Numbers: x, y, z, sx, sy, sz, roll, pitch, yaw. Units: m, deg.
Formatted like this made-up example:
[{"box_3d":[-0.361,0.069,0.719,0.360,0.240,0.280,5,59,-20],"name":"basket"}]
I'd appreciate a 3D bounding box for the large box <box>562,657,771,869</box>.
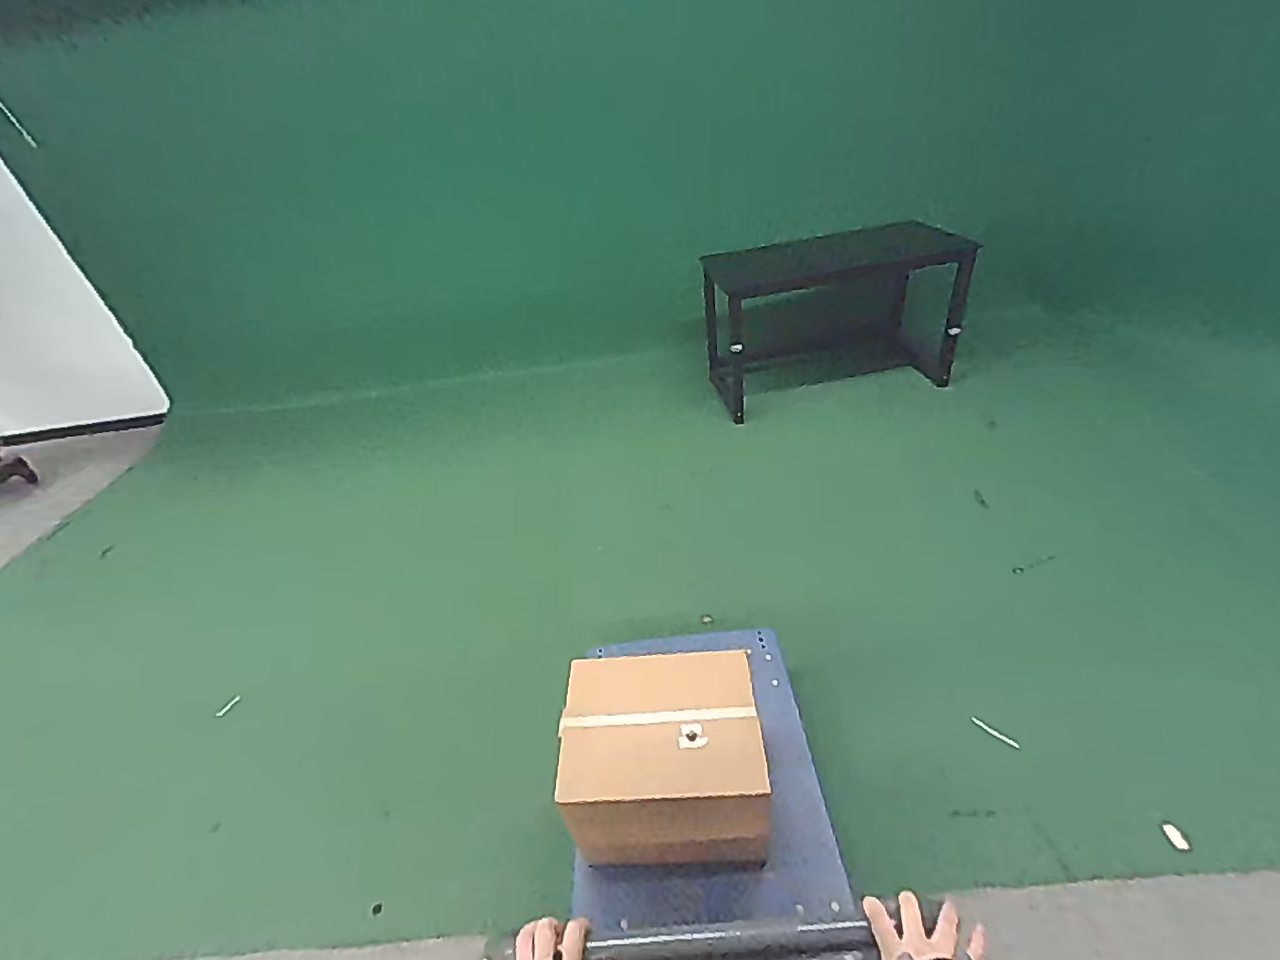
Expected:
[{"box_3d":[0.061,0.634,1.218,0.408,0.320,0.320,-5,35,4],"name":"large box"}]
